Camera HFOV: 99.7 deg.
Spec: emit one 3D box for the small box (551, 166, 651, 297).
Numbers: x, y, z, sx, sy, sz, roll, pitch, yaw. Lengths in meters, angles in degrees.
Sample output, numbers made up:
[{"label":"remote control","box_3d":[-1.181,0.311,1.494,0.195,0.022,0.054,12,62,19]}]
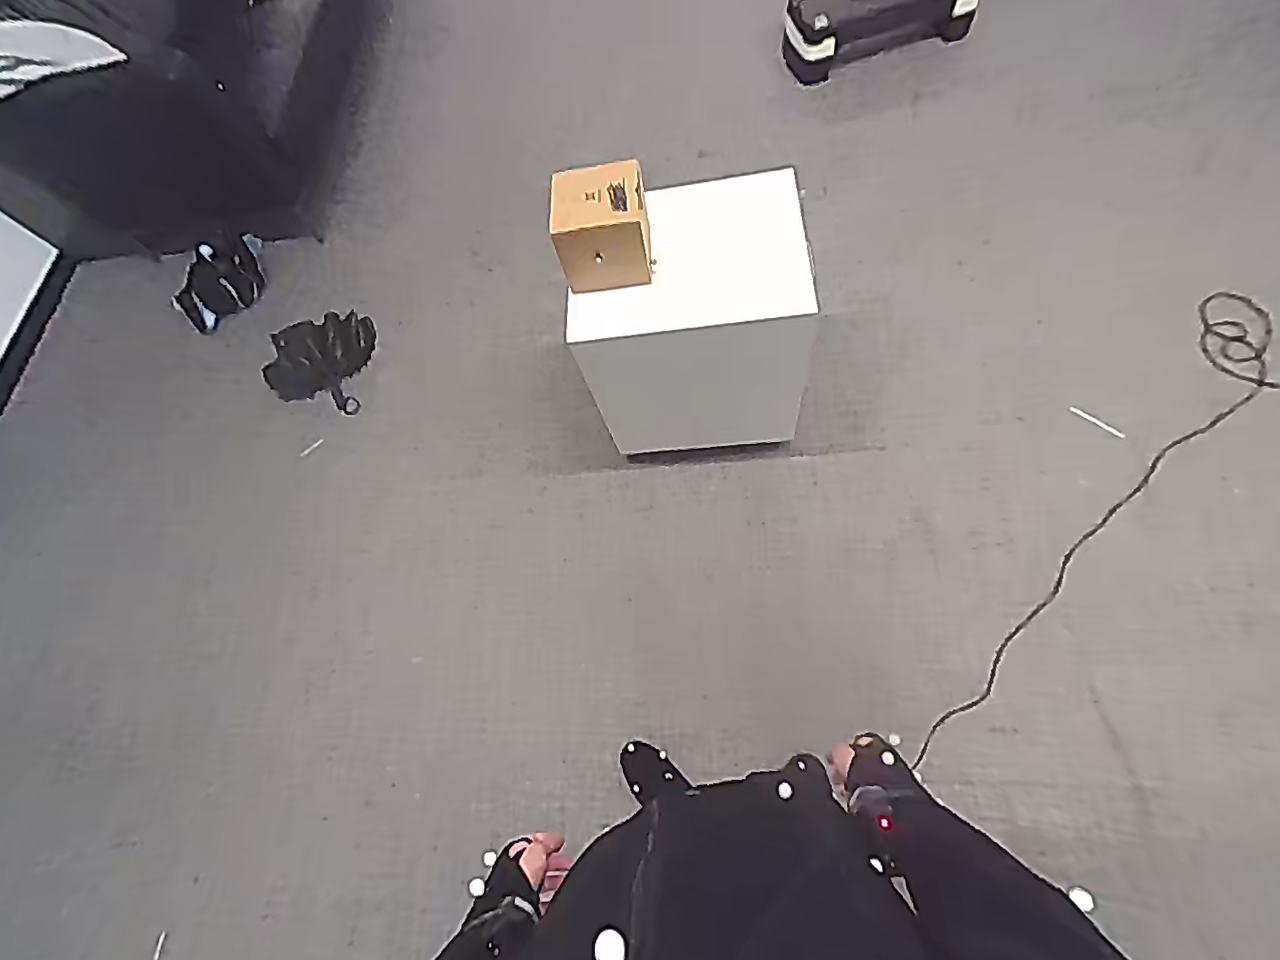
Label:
[{"label":"small box","box_3d":[-0.071,-0.503,1.112,0.179,0.176,0.168,-5,66,9]}]
